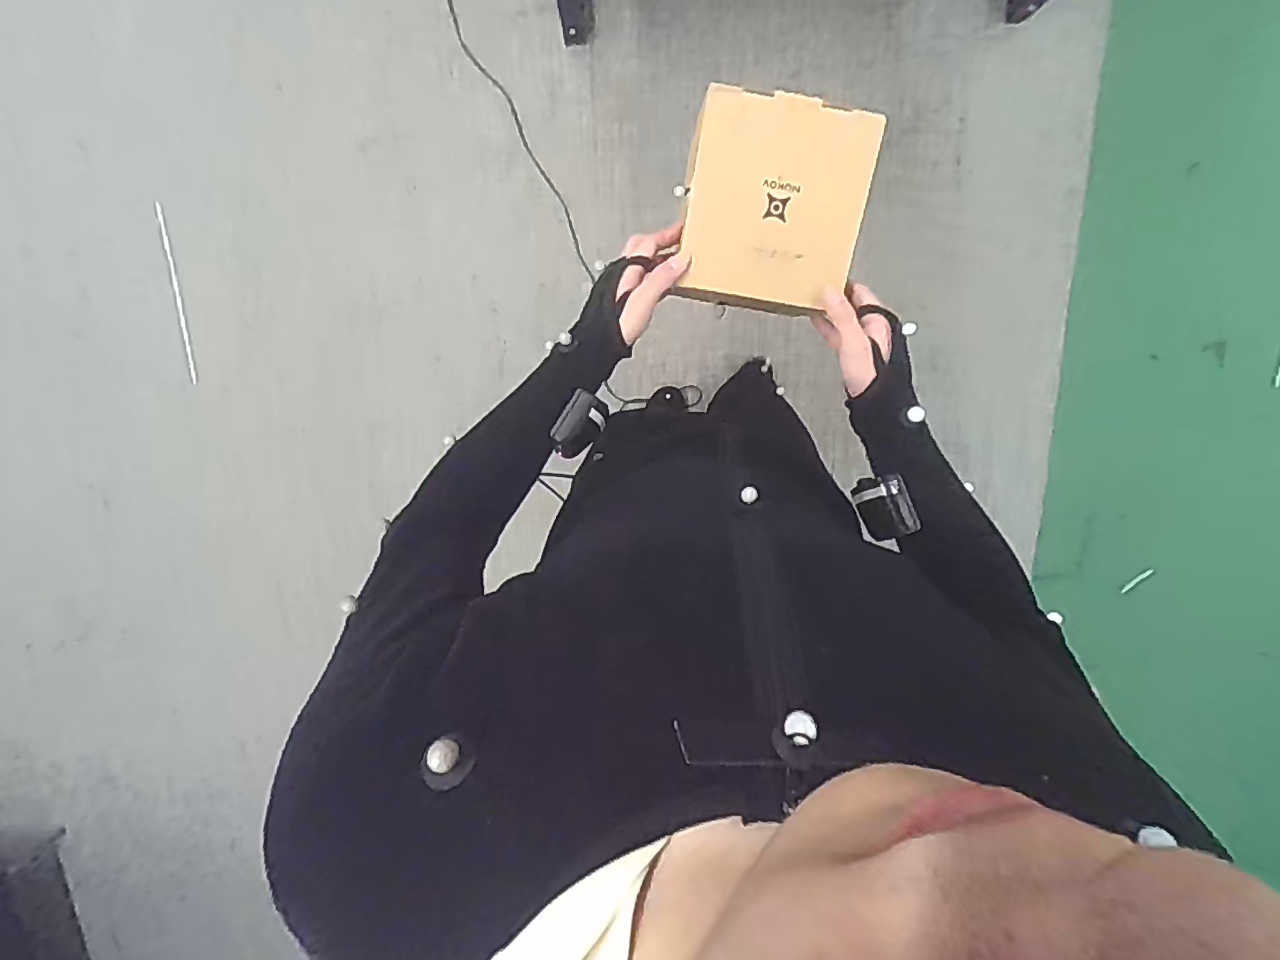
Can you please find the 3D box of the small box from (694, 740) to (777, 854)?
[{"bbox_3d":[0.219,0.741,1.281,0.168,0.176,0.179,-1,104,-1],"label":"small box"}]

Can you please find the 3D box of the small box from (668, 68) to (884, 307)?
[{"bbox_3d":[0.126,-0.290,0.579,0.168,0.176,0.179,9,106,-3],"label":"small box"}]
